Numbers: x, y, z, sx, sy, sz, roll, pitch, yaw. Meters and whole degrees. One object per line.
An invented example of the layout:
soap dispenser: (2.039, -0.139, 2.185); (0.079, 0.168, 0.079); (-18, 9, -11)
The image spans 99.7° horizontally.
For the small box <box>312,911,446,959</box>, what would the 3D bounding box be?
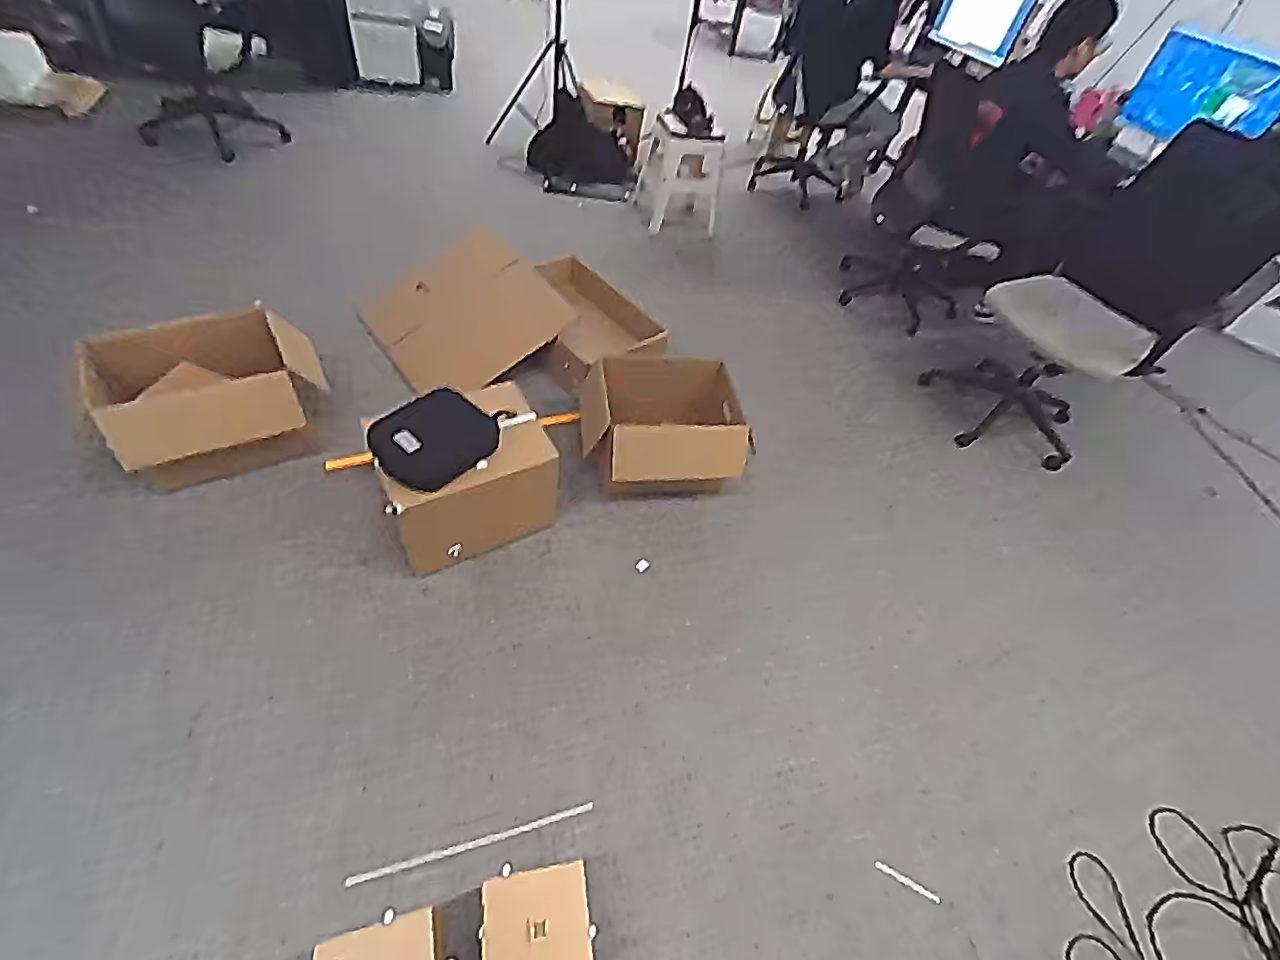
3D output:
small box: (-0.414, 0.828, 0.872); (0.179, 0.176, 0.168); (-7, 52, -17)

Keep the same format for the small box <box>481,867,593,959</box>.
small box: (-0.181, 0.797, 0.946); (0.179, 0.176, 0.168); (-4, 51, -12)
